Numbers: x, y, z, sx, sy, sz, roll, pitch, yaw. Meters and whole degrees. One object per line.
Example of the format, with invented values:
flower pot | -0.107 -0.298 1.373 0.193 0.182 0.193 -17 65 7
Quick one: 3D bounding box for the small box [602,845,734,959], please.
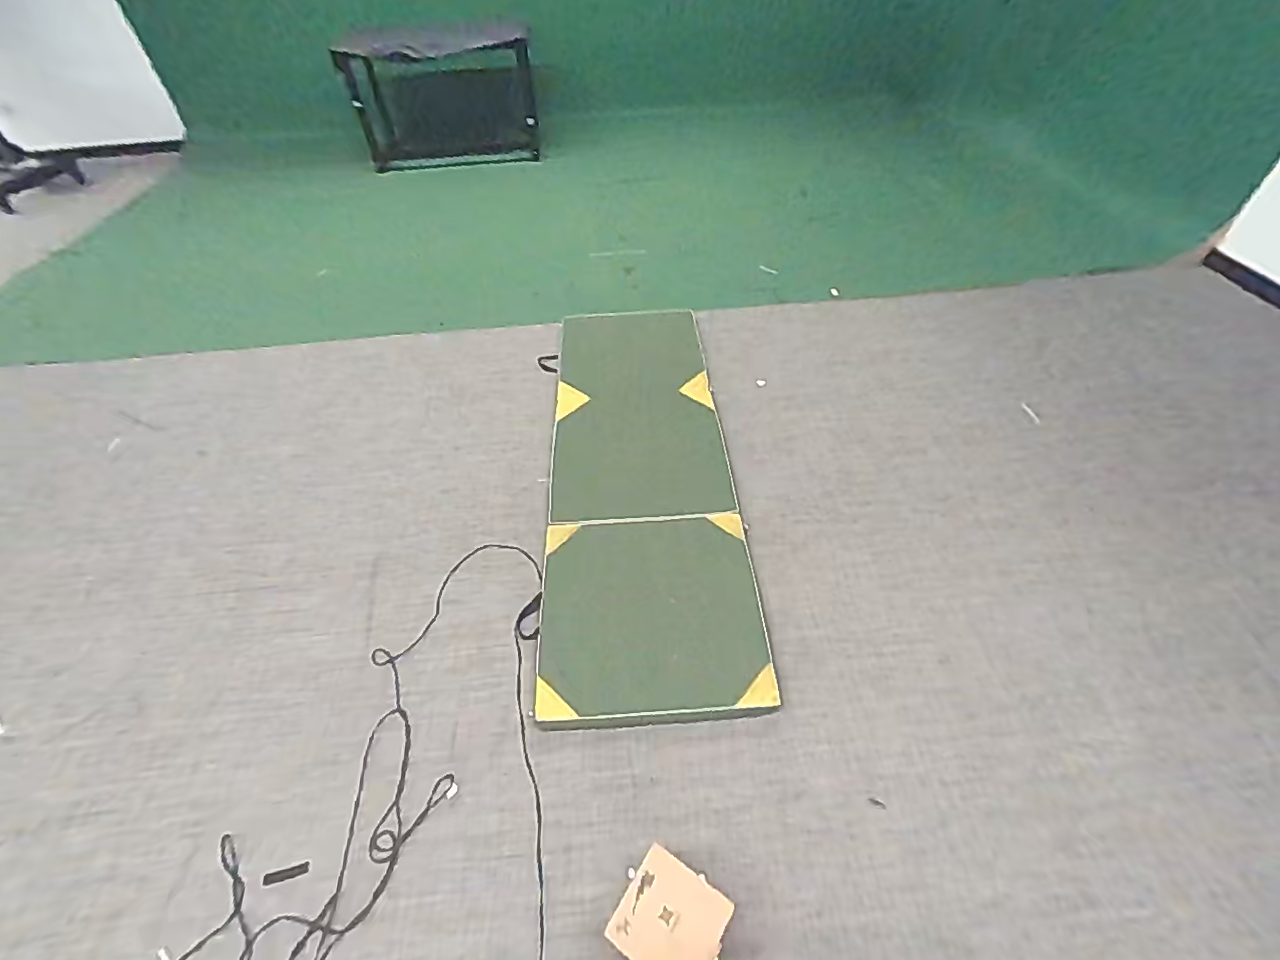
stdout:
small box | 0.051 0.817 0.994 0.179 0.176 0.168 26 53 23
